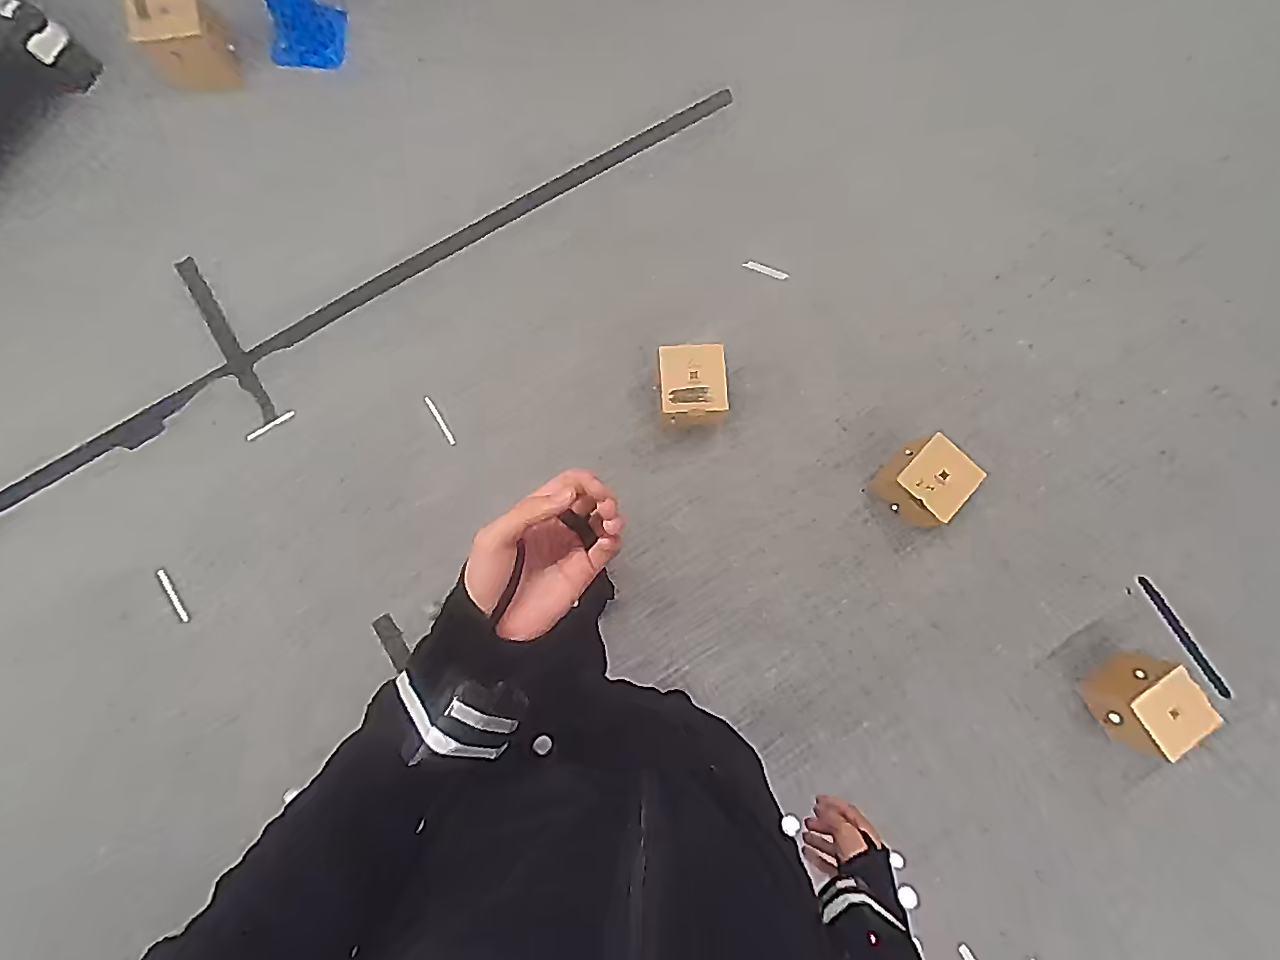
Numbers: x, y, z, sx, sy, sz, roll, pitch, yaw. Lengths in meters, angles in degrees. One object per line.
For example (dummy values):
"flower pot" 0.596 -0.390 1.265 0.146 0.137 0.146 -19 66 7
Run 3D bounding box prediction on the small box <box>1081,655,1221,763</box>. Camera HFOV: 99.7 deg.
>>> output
"small box" 1.289 0.576 1.385 0.179 0.176 0.168 -33 85 -6

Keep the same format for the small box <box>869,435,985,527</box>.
"small box" 0.747 0.009 1.429 0.168 0.176 0.179 44 84 3
